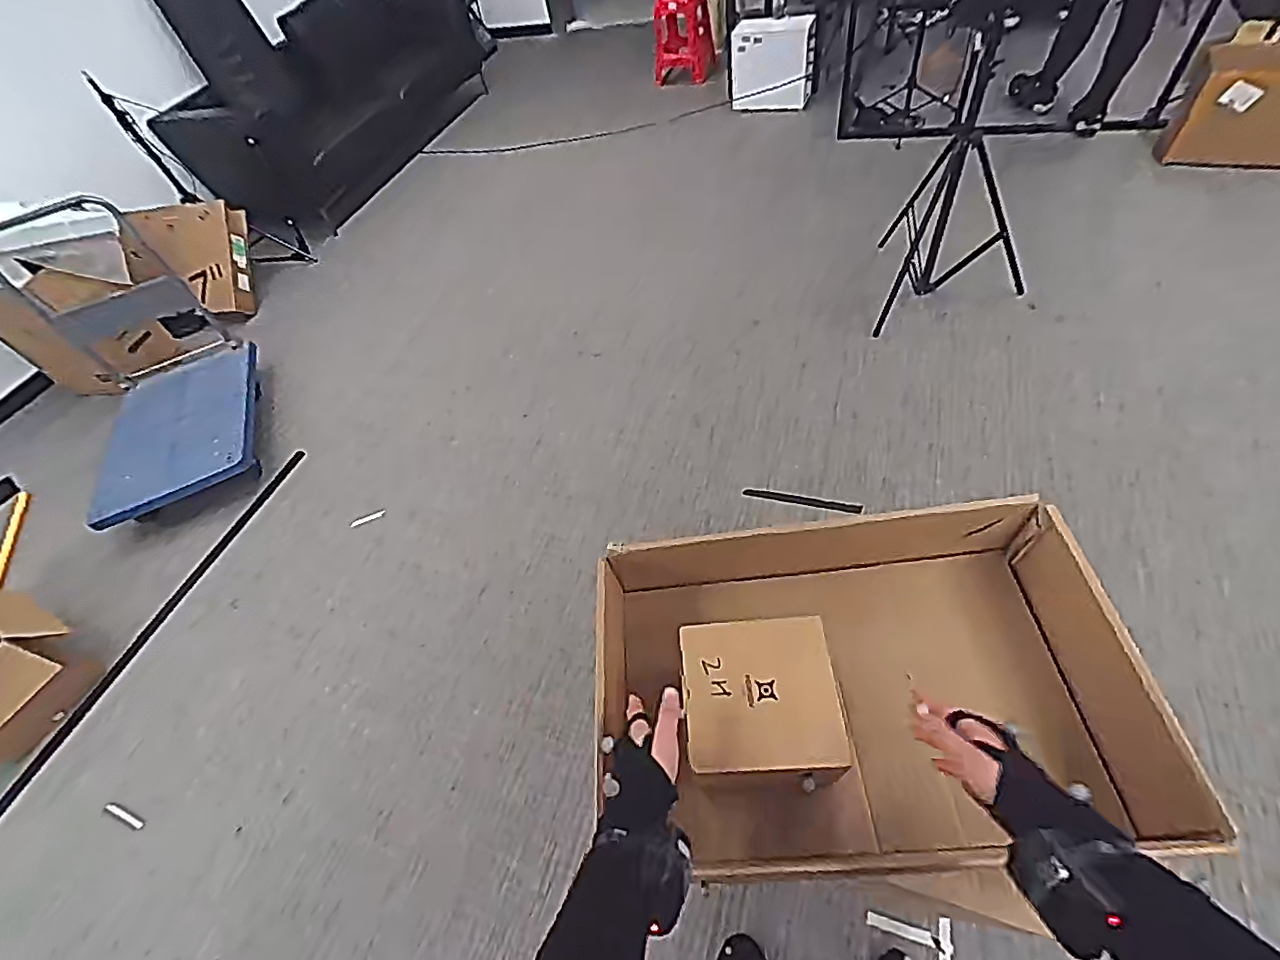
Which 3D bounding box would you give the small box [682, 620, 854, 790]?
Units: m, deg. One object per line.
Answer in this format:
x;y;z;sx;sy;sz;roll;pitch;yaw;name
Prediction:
0.151;0.289;0.685;0.179;0.176;0.168;-6;54;8;small box
